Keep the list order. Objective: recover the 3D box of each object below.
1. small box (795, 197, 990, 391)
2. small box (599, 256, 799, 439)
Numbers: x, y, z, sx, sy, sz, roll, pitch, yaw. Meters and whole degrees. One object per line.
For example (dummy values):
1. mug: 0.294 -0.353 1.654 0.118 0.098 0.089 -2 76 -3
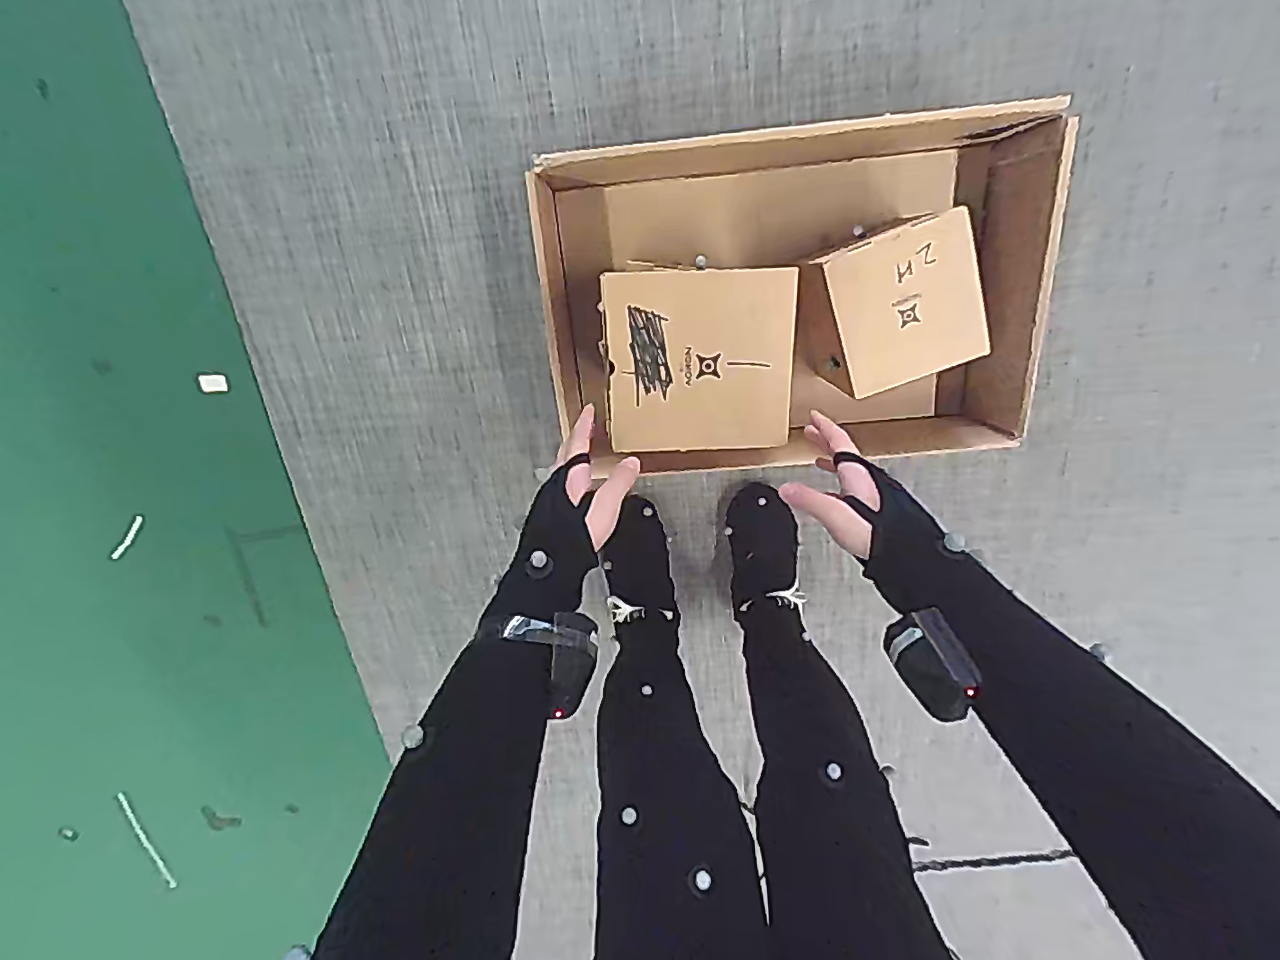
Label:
1. small box: 0.315 -0.239 0.703 0.168 0.176 0.179 -19 109 9
2. small box: 0.054 -0.143 0.571 0.179 0.176 0.168 -2 110 0
